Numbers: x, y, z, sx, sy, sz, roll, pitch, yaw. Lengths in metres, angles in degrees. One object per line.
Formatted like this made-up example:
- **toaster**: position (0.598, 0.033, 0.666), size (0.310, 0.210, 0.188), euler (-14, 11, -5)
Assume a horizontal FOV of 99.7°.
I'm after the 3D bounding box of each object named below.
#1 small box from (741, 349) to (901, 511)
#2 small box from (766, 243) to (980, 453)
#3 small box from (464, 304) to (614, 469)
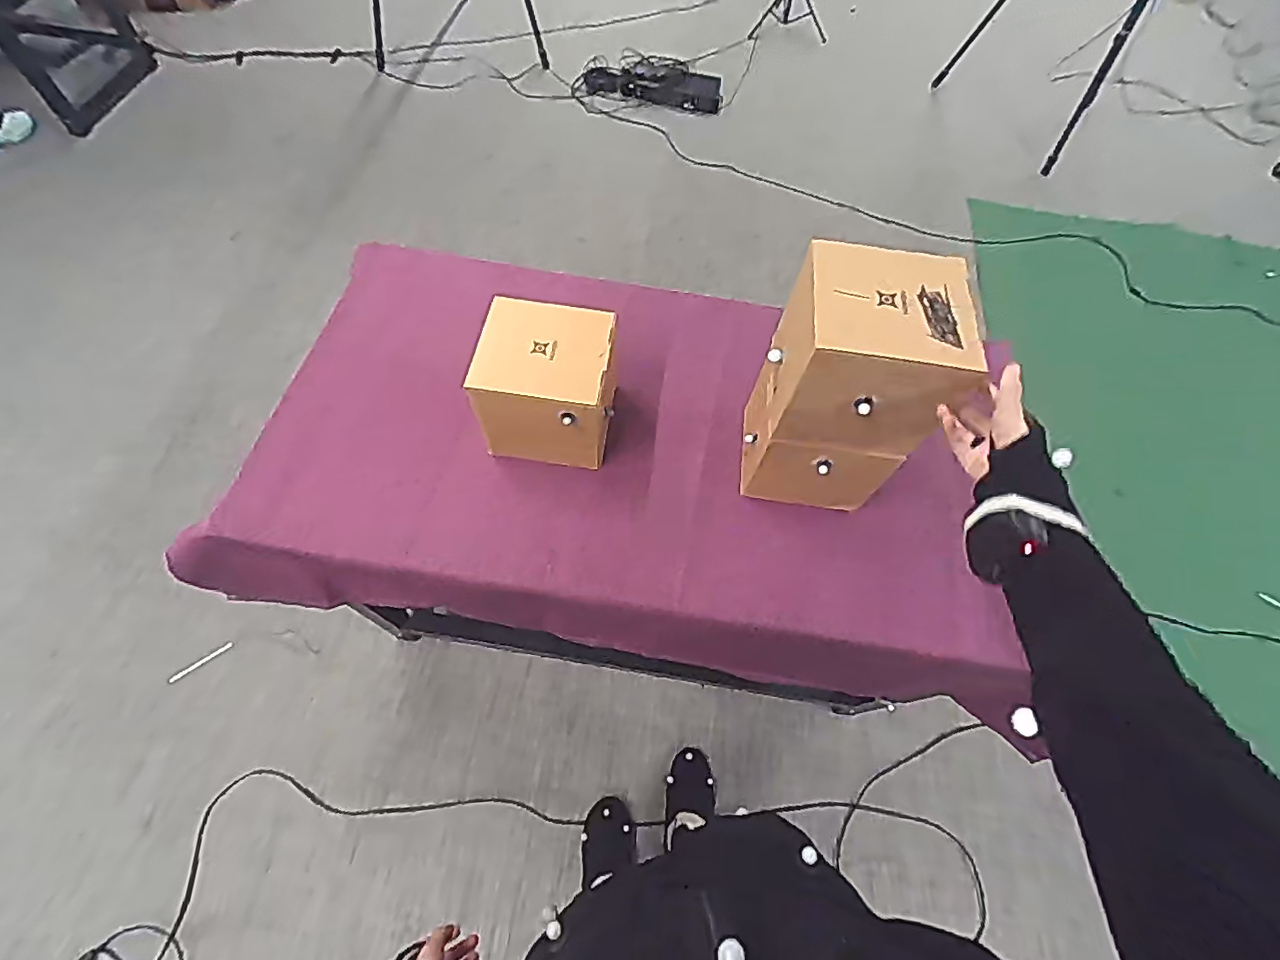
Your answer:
- **small box**: position (0.251, -0.069, 0.789), size (0.179, 0.176, 0.168), euler (9, 62, 0)
- **small box**: position (0.260, -0.148, 0.646), size (0.179, 0.176, 0.168), euler (8, 61, 1)
- **small box**: position (-0.136, -0.130, 0.799), size (0.179, 0.176, 0.168), euler (7, 61, -1)
